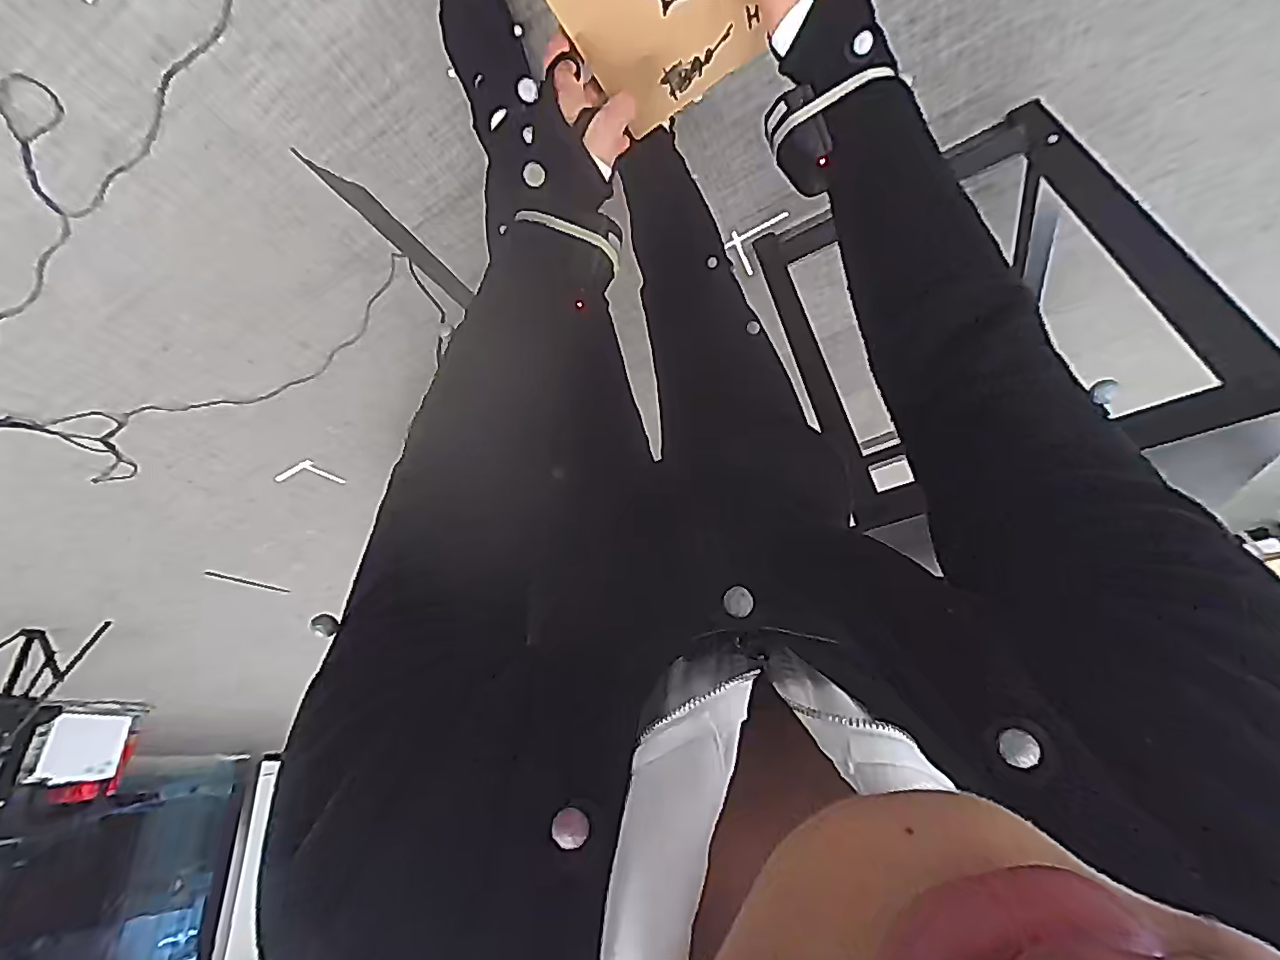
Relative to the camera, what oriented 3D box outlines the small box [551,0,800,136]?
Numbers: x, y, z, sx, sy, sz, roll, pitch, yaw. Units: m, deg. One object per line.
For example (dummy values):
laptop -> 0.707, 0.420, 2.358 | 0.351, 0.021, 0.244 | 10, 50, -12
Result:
small box -> 0.009, -0.449, 0.451 | 0.168, 0.176, 0.179 | -23, 144, 24
